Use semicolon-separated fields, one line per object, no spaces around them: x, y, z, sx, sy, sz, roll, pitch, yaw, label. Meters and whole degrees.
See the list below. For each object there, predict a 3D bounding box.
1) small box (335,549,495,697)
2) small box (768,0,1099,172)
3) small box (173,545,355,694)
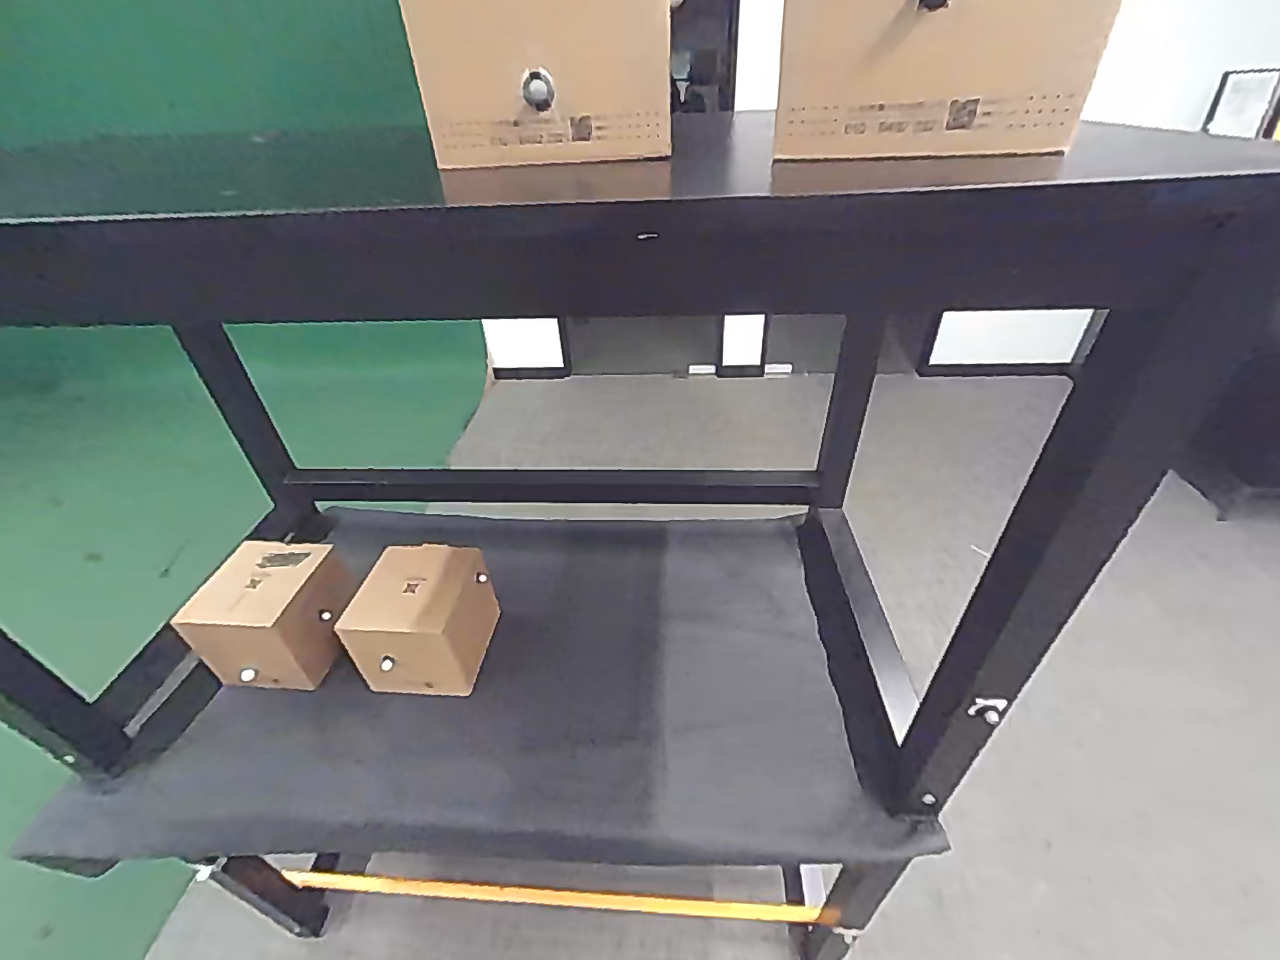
-0.352;0.235;0.890;0.168;0.176;0.179;1;37;5;small box
0.177;-0.303;0.348;0.168;0.176;0.179;7;38;13;small box
-0.605;0.230;0.909;0.168;0.176;0.179;1;37;5;small box
